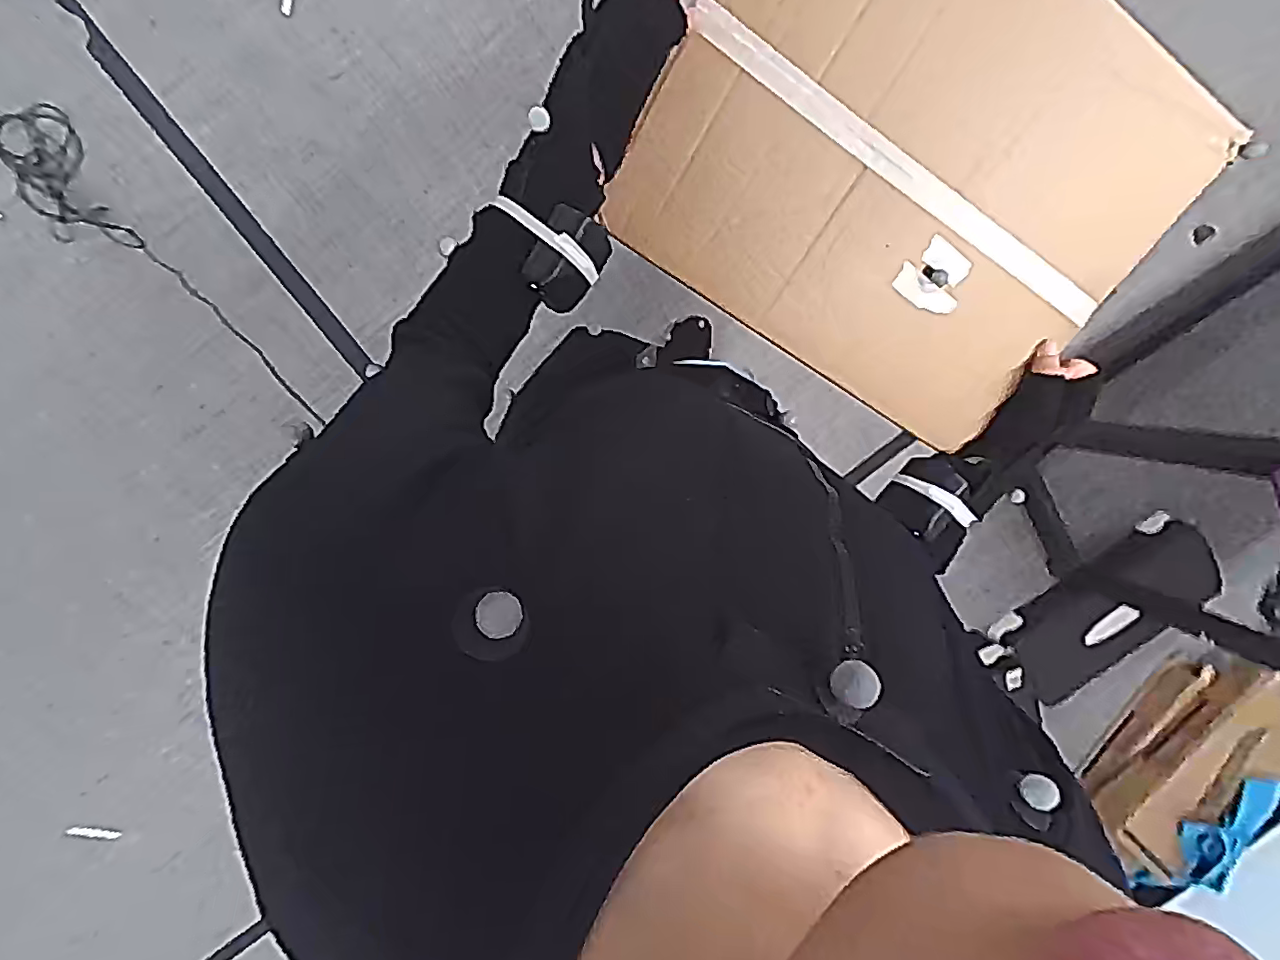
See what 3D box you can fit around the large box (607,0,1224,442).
[{"bbox_3d":[0.213,-0.305,0.571,0.408,0.320,0.320,29,112,-13],"label":"large box"}]
